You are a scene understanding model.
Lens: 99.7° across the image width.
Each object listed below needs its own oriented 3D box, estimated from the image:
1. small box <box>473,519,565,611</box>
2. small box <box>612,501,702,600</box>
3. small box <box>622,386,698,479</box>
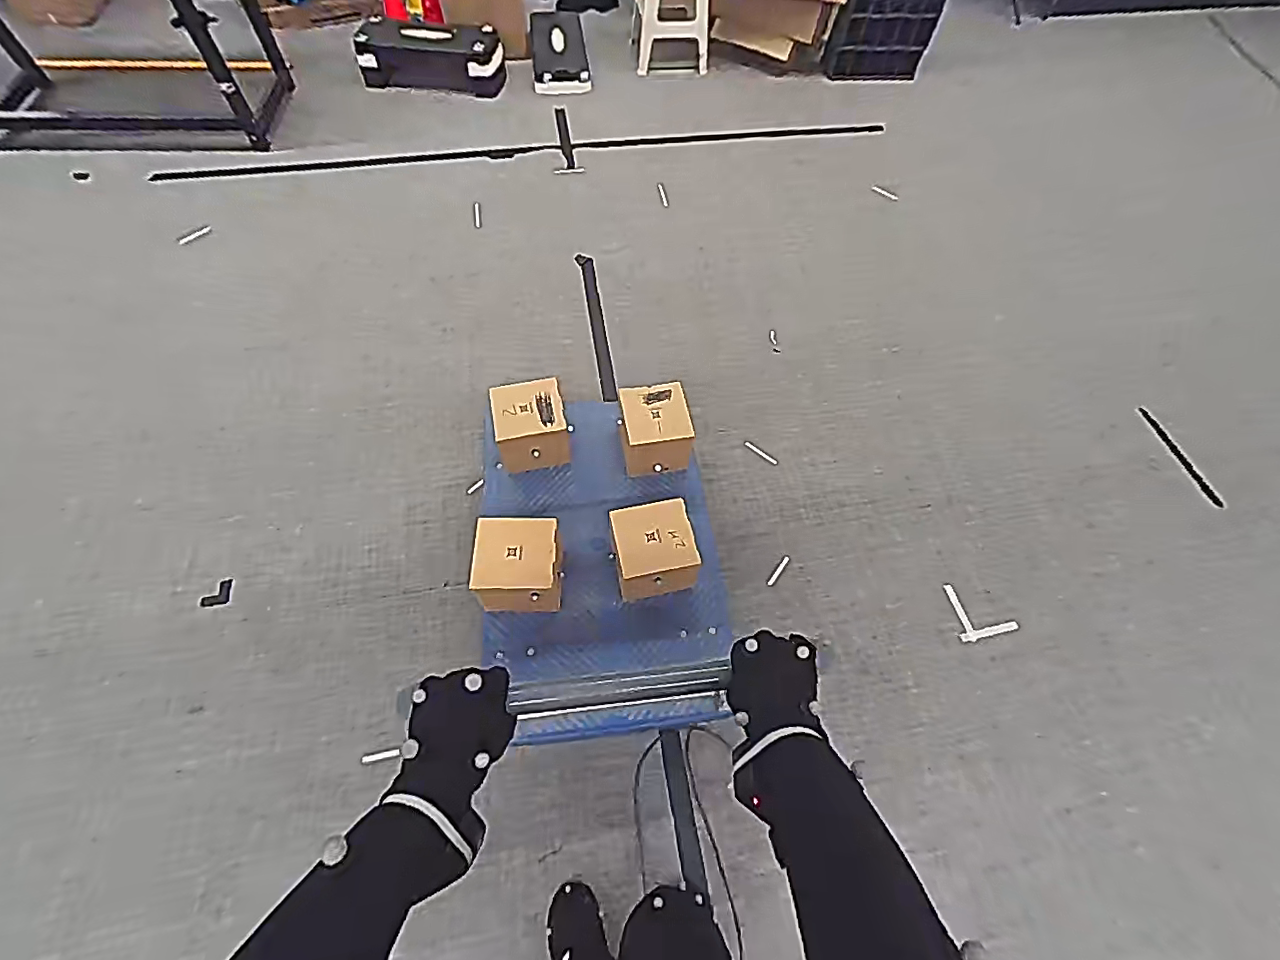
[{"bbox_3d":[-0.269,0.199,1.244,0.179,0.176,0.168,1,61,-4],"label":"small box"},{"bbox_3d":[0.034,0.172,1.272,0.179,0.176,0.168,-10,62,-8],"label":"small box"},{"bbox_3d":[0.045,-0.124,1.437,0.168,0.176,0.179,-8,63,-7],"label":"small box"}]
